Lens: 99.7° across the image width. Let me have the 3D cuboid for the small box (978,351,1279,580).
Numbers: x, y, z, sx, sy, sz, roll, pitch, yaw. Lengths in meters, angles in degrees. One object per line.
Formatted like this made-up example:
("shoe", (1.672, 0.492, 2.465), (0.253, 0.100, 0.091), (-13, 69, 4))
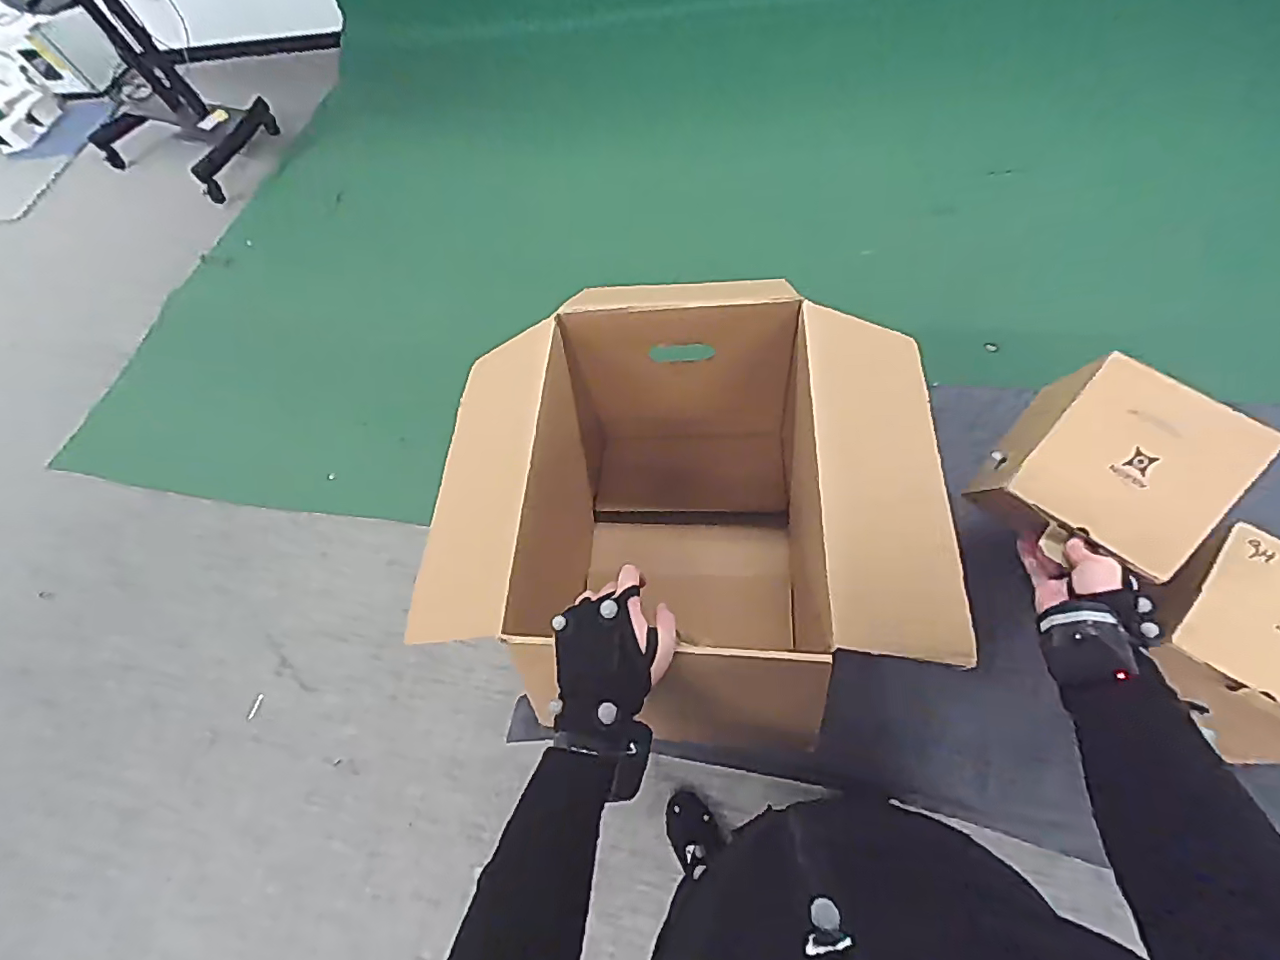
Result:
("small box", (0.524, -0.012, 0.617), (0.168, 0.176, 0.179), (37, 98, 14))

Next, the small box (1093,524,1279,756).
("small box", (0.667, 0.187, 0.608), (0.168, 0.176, 0.179), (39, 76, 24))
